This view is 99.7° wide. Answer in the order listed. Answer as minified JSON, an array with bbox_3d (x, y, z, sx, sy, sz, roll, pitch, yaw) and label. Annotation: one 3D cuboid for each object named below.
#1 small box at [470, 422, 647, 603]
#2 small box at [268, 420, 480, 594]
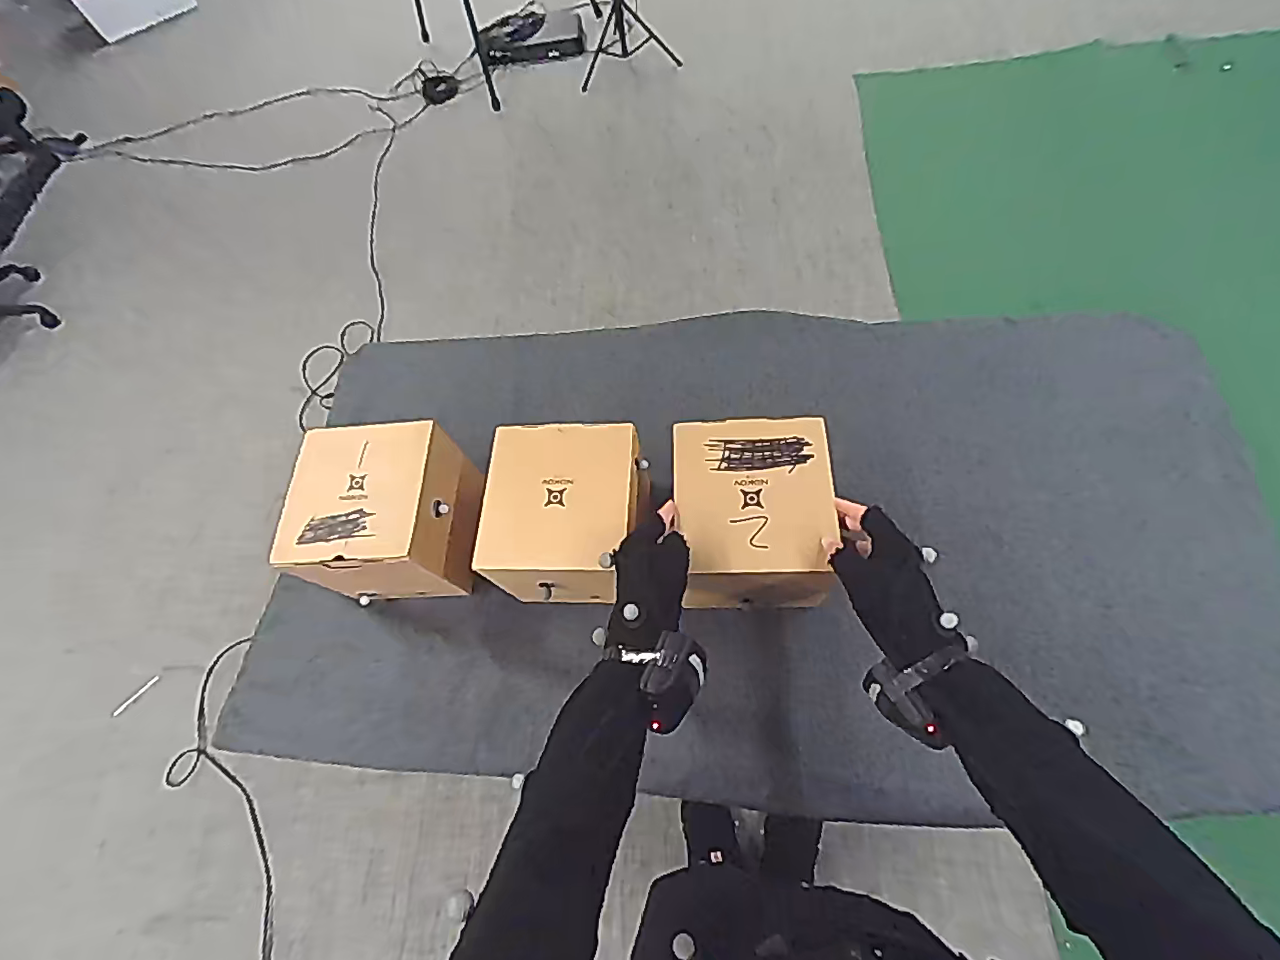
[{"bbox_3d":[-0.083,0.048,0.657,0.168,0.176,0.179,-1,64,7],"label":"small box"},{"bbox_3d":[-0.317,0.044,0.688,0.168,0.176,0.179,-4,64,6],"label":"small box"}]
